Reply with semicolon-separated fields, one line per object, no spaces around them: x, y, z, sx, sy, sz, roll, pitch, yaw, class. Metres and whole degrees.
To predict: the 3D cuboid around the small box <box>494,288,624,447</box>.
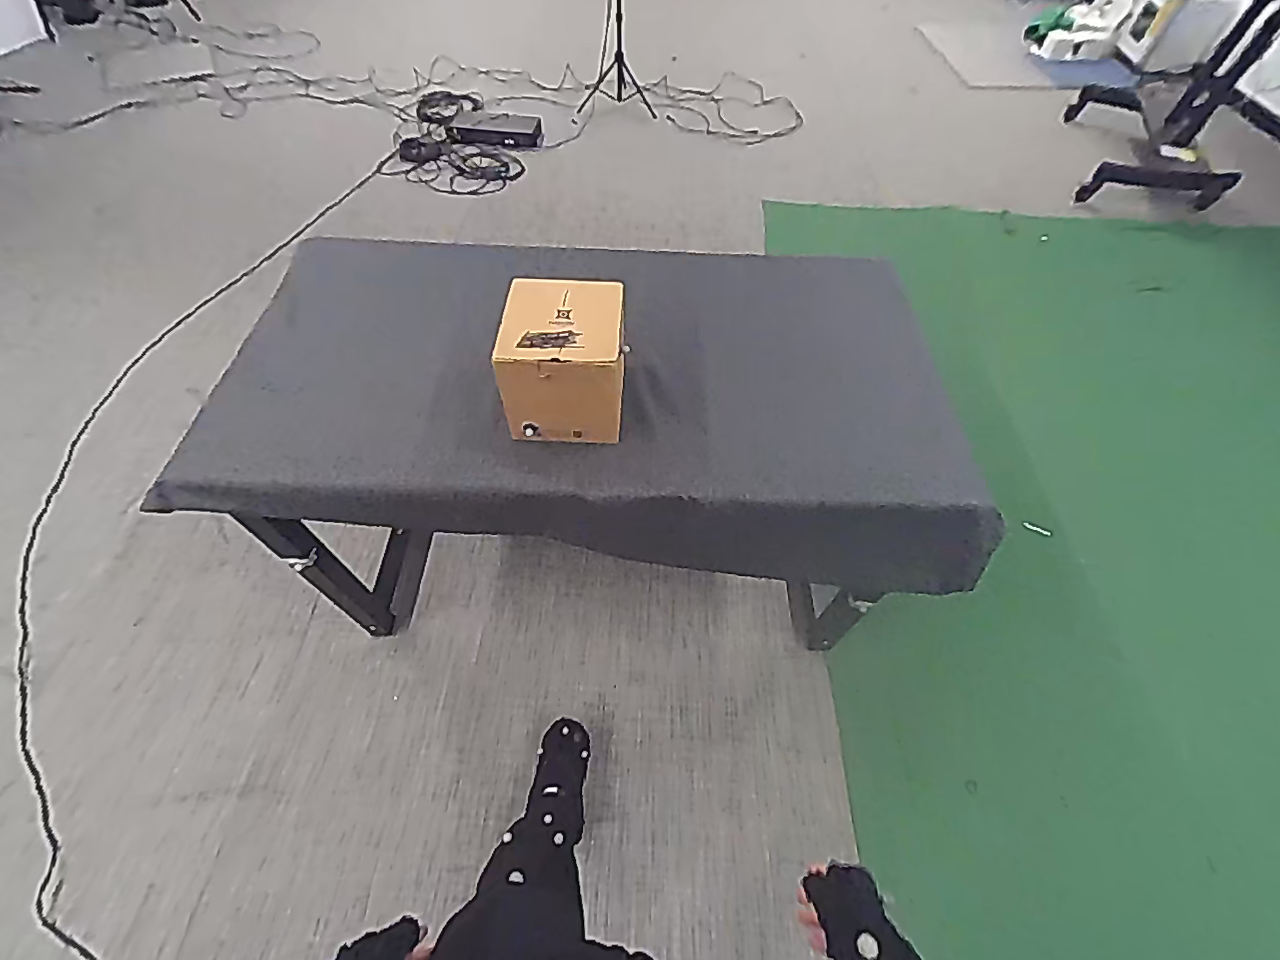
-0.111;-0.167;0.824;0.168;0.176;0.179;2;54;0;small box
